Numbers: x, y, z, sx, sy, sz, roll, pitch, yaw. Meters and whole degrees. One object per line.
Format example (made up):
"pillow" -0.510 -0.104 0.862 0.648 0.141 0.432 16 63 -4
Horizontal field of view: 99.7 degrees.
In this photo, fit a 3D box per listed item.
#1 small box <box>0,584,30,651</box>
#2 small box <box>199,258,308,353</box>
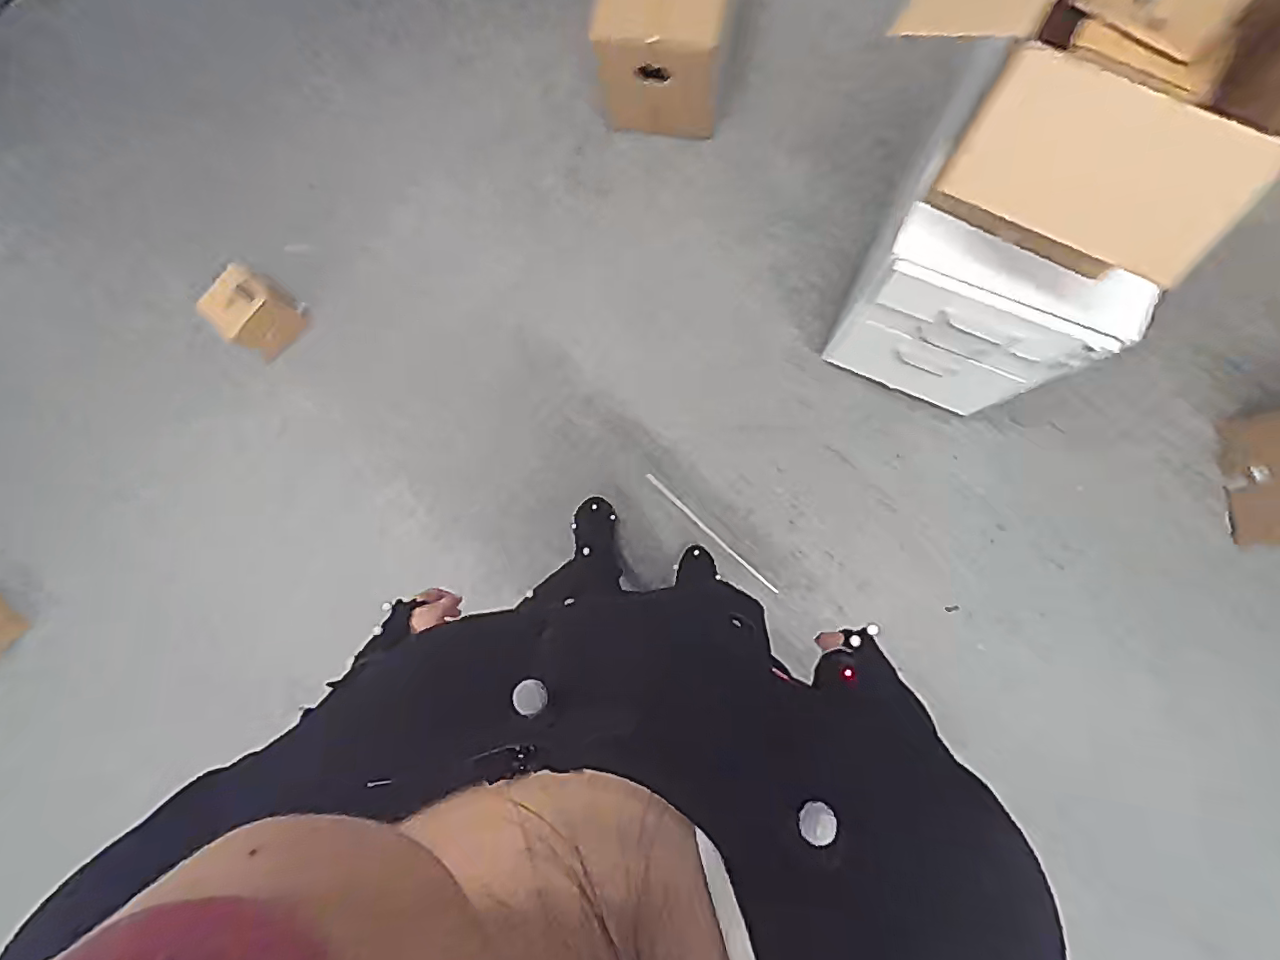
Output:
"small box" -1.997 0.420 1.599 0.168 0.176 0.179 -41 82 1
"small box" -1.134 -0.513 1.609 0.168 0.176 0.179 44 91 8
